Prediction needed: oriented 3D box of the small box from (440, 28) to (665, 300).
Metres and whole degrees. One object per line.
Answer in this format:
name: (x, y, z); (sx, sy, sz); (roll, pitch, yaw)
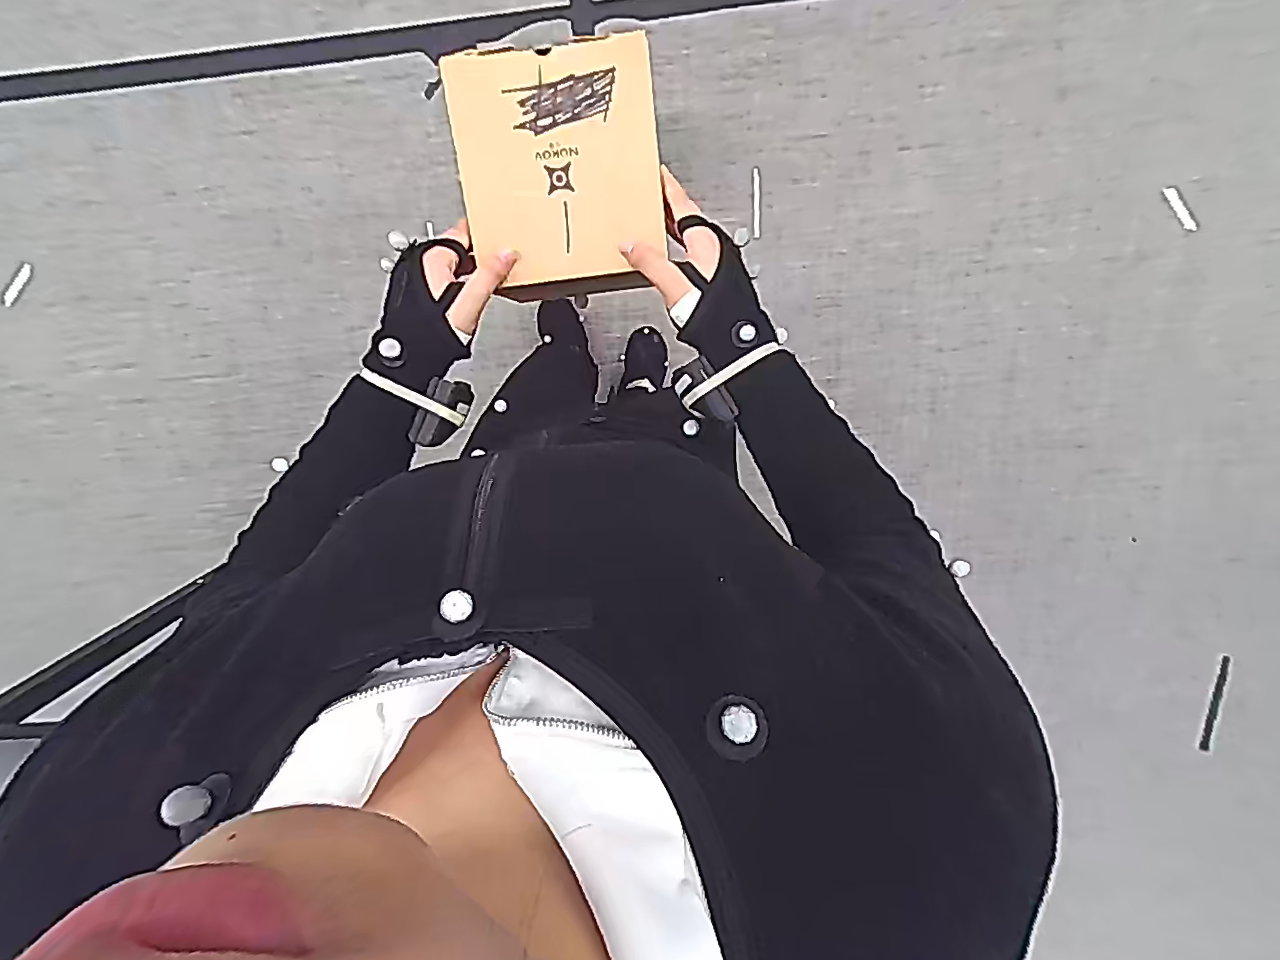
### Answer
small box: (-0.070, -0.279, 0.519); (0.168, 0.176, 0.179); (-7, 104, 1)
